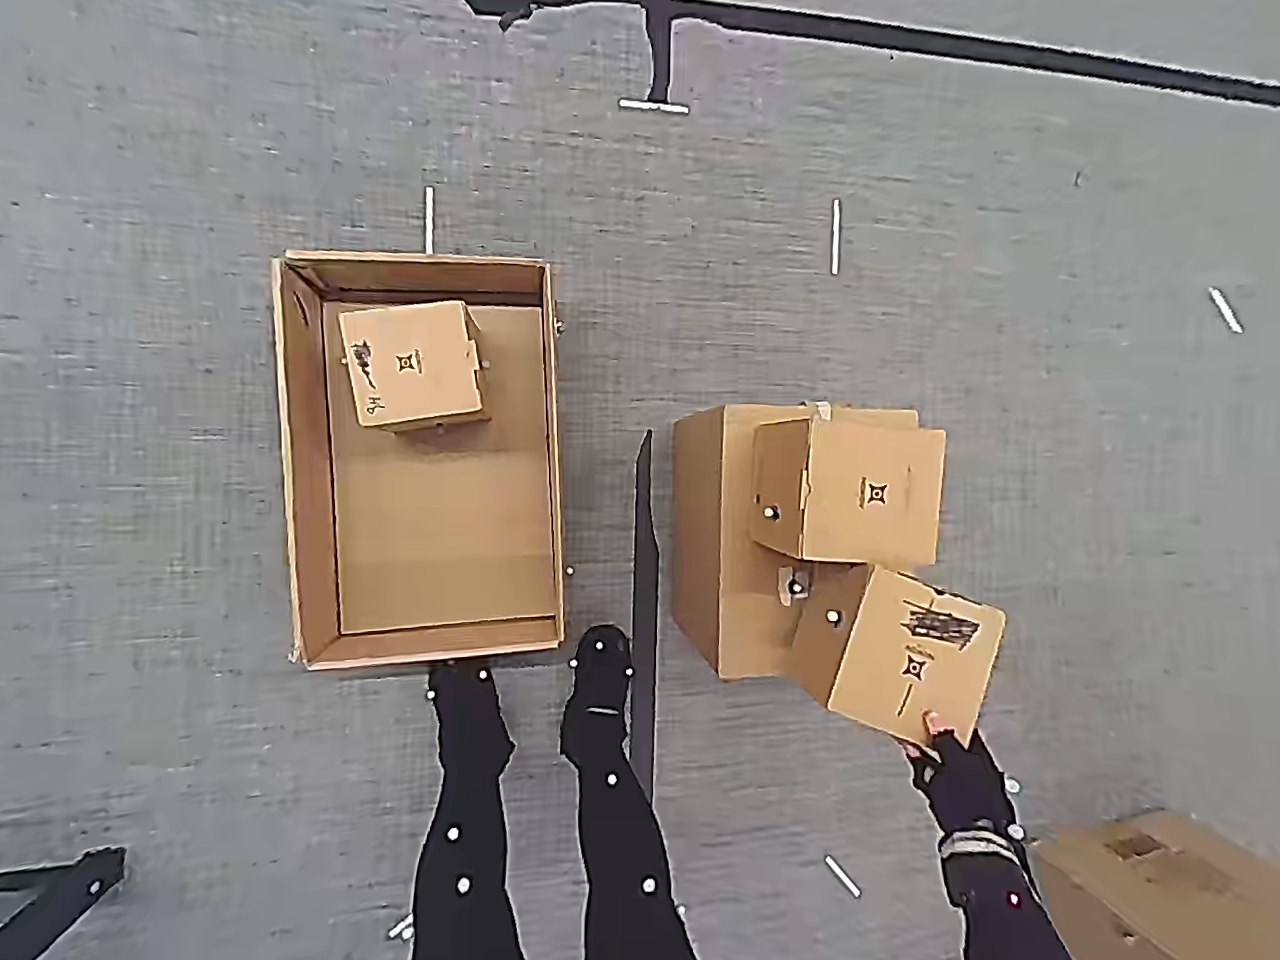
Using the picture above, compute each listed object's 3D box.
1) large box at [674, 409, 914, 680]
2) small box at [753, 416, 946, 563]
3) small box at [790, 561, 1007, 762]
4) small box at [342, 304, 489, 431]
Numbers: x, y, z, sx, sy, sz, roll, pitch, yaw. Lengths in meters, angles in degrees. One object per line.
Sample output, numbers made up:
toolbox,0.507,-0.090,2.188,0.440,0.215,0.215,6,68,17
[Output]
large box,0.244,0.087,0.953,0.320,0.320,0.408,0,92,-9
small box,0.260,0.010,0.707,0.179,0.176,0.168,3,93,-10
small box,0.310,0.211,0.685,0.168,0.176,0.179,21,85,1
small box,-0.344,-0.172,0.866,0.179,0.176,0.168,-9,94,-10
